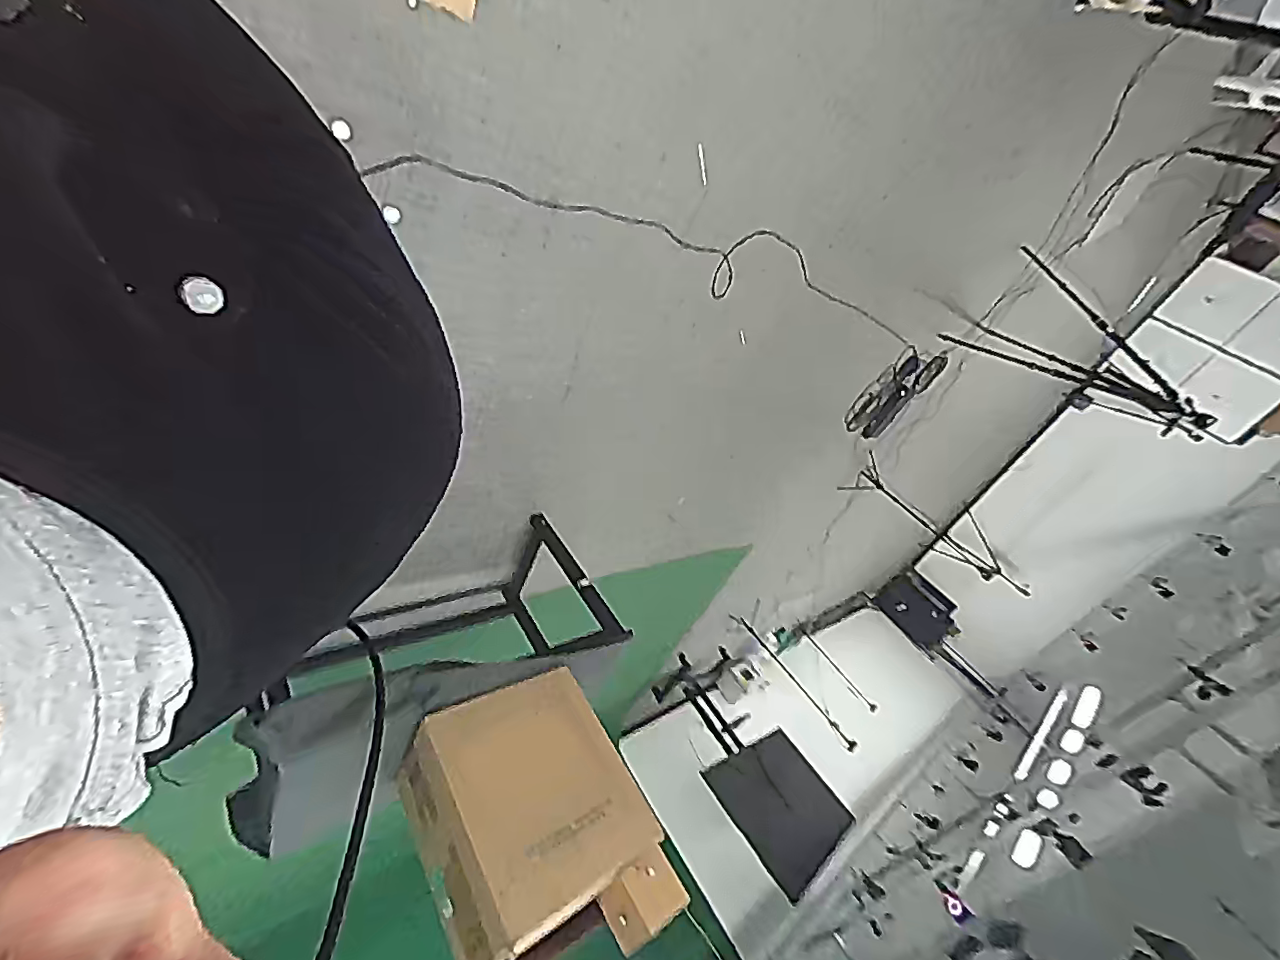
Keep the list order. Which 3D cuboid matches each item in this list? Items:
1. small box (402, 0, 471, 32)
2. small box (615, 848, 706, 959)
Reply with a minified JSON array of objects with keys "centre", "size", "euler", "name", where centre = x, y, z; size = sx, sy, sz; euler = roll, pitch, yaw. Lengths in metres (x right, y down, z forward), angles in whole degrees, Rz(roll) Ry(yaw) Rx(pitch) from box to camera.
[{"centre":[-0.417,-1.003,1.020],"size":[0.168,0.176,0.179],"euler":[-5,133,-44],"name":"small box"},{"centre":[0.052,1.223,1.571],"size":[0.168,0.176,0.179],"euler":[-6,132,-46],"name":"small box"}]
